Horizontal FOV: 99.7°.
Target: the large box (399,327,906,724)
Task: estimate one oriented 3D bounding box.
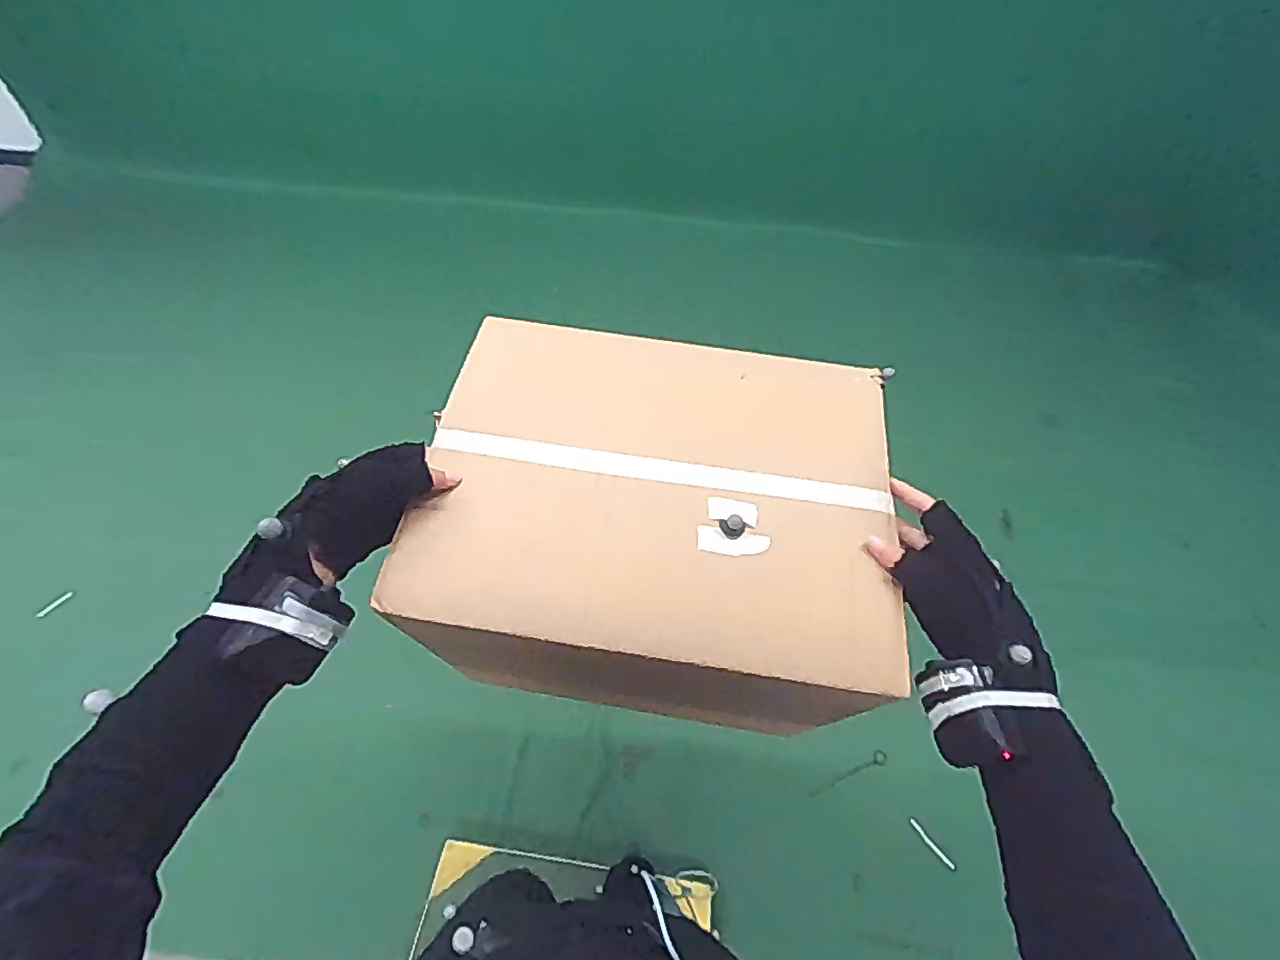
[{"bbox_3d":[0.018,0.069,0.615,0.408,0.320,0.320,9,60,2],"label":"large box"}]
